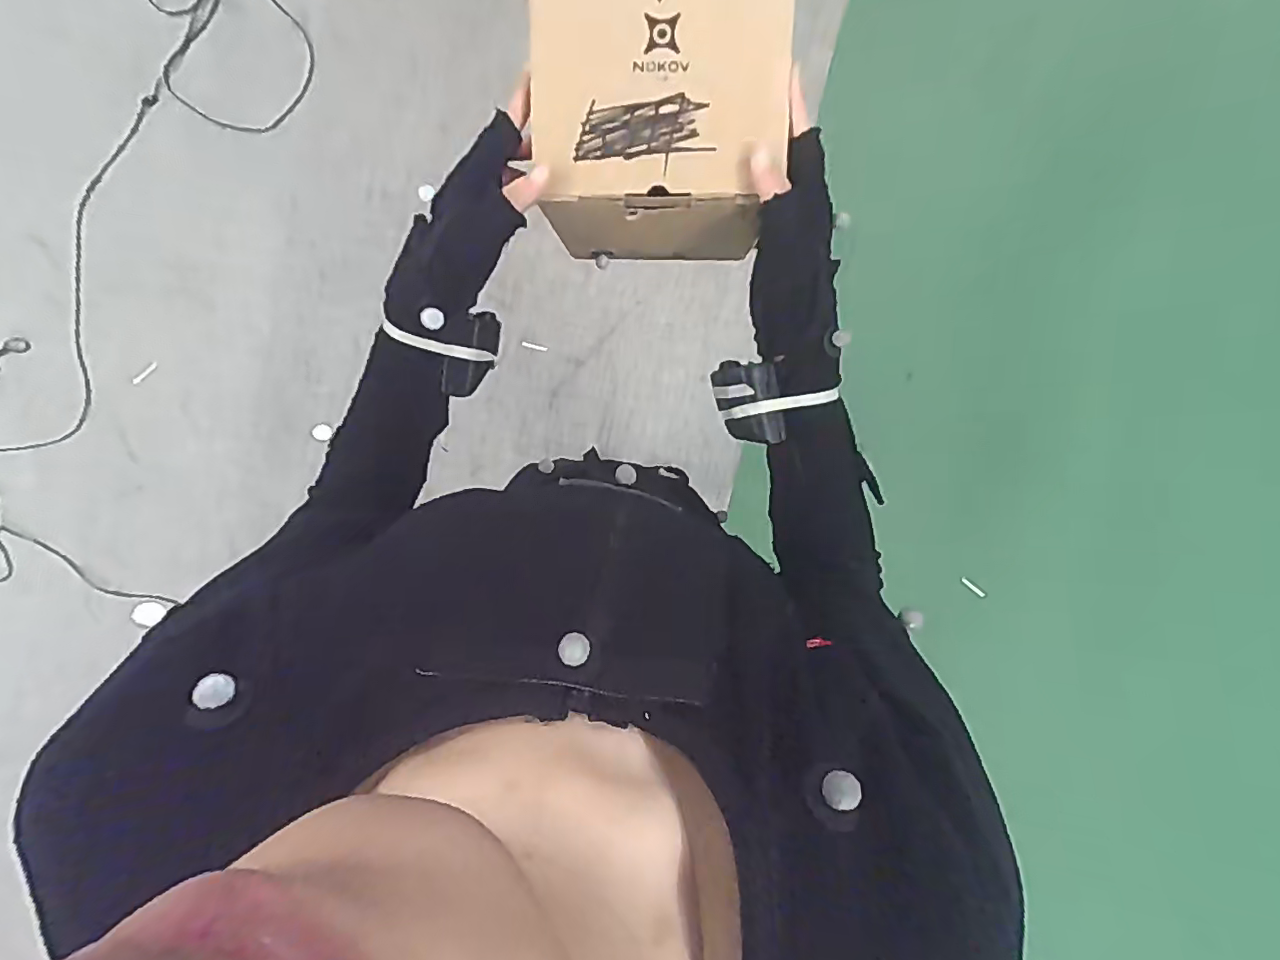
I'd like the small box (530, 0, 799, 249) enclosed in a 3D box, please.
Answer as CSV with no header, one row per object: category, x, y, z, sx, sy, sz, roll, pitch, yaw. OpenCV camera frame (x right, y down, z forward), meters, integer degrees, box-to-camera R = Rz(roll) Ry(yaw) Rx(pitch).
small box,0.017,-0.284,0.409,0.168,0.176,0.179,1,99,1
